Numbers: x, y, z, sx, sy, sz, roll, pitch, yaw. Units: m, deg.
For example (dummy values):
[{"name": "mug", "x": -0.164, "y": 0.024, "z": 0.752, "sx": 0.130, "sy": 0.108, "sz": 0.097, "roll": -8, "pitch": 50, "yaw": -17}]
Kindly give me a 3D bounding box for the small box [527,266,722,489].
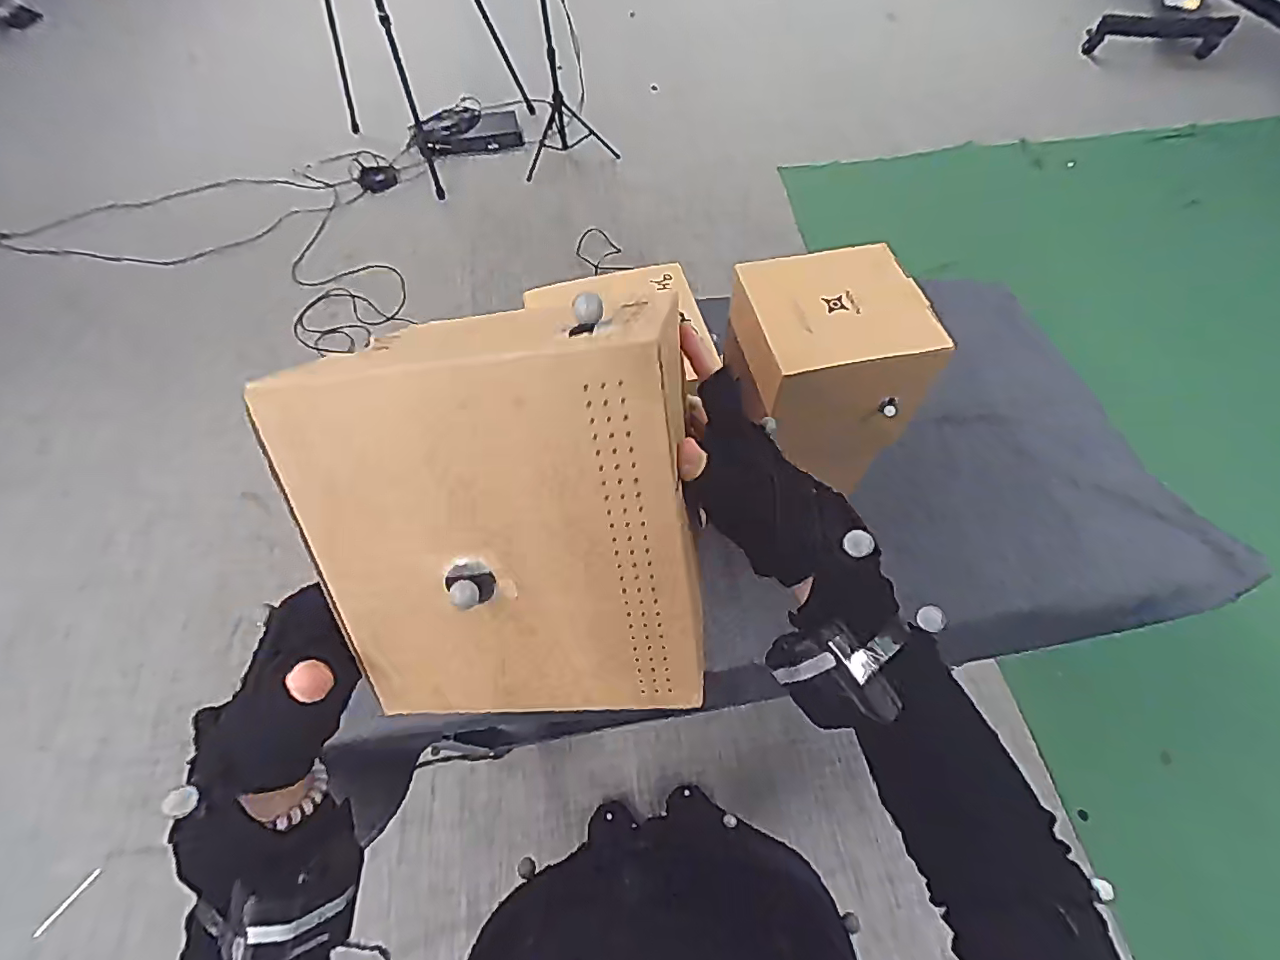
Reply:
[{"name": "small box", "x": -0.017, "y": -0.108, "z": 0.620, "sx": 0.179, "sy": 0.176, "sz": 0.168, "roll": -13, "pitch": 61, "yaw": -5}]
